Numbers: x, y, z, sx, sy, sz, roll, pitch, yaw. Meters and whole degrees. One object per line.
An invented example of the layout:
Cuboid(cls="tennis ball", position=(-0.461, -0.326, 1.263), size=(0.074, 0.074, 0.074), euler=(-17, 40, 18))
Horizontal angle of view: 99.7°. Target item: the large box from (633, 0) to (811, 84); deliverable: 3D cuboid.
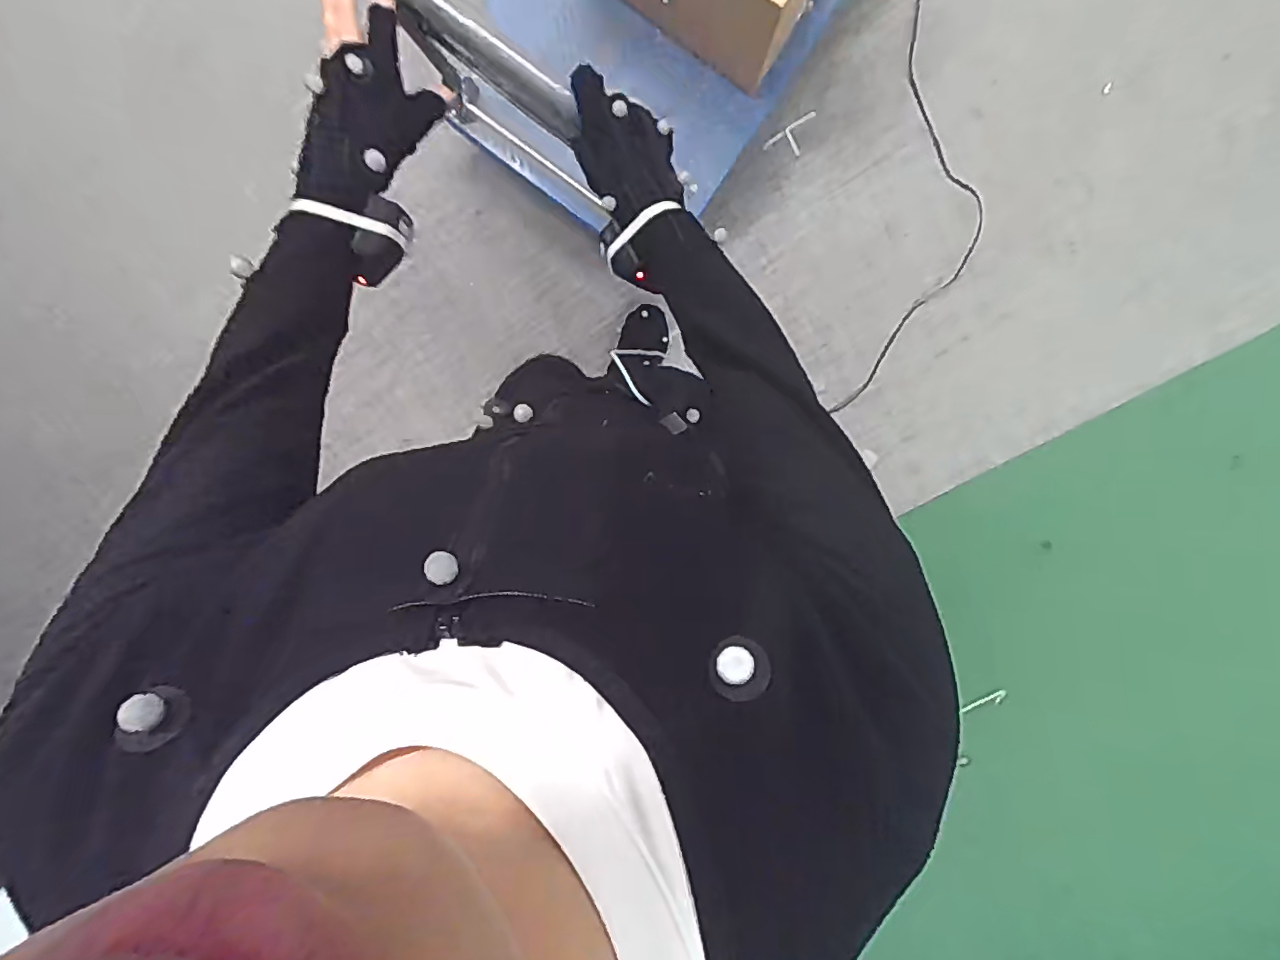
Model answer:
Cuboid(cls="large box", position=(0.138, -0.964, 0.879), size=(0.408, 0.320, 0.320), euler=(32, 105, -5))
